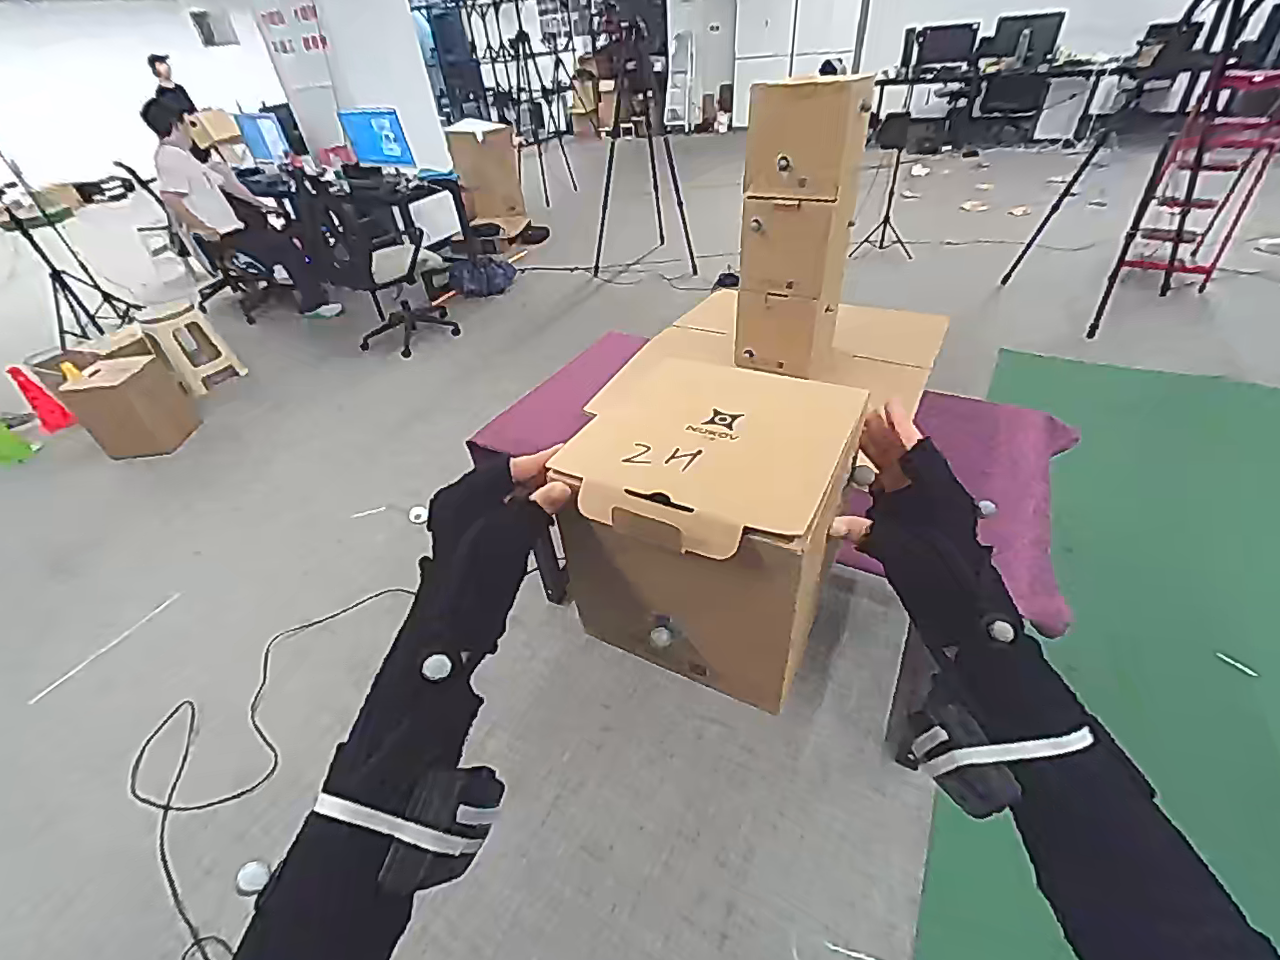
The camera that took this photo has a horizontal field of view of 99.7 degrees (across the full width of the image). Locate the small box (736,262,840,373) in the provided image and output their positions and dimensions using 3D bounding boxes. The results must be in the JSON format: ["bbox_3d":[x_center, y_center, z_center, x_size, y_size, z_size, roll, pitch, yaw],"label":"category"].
[{"bbox_3d":[0.311,-0.346,1.149,0.168,0.176,0.179,16,45,24],"label":"small box"}]

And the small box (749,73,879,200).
[{"bbox_3d":[0.299,-0.605,0.947,0.168,0.176,0.179,17,43,24],"label":"small box"}]

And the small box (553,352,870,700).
[{"bbox_3d":[0.059,0.026,0.414,0.168,0.176,0.179,16,43,26],"label":"small box"}]
